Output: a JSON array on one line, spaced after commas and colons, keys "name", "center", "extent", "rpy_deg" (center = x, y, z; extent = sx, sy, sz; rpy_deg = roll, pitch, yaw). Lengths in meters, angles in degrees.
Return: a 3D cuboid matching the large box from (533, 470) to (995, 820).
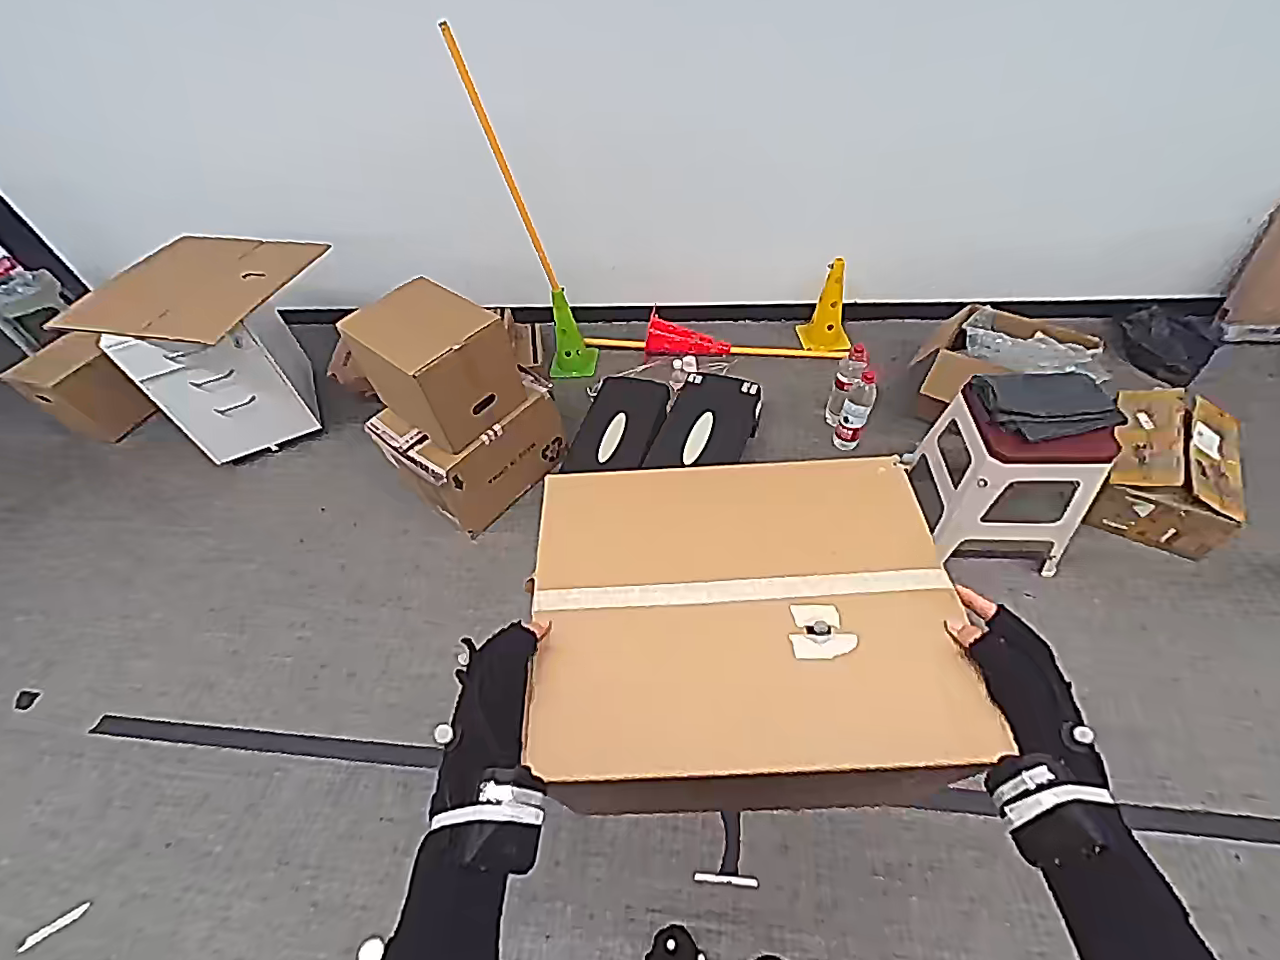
[{"name": "large box", "center": [0.104, 0.212, 0.663], "extent": [0.408, 0.320, 0.320], "rpy_deg": [-3, 54, 1]}]
